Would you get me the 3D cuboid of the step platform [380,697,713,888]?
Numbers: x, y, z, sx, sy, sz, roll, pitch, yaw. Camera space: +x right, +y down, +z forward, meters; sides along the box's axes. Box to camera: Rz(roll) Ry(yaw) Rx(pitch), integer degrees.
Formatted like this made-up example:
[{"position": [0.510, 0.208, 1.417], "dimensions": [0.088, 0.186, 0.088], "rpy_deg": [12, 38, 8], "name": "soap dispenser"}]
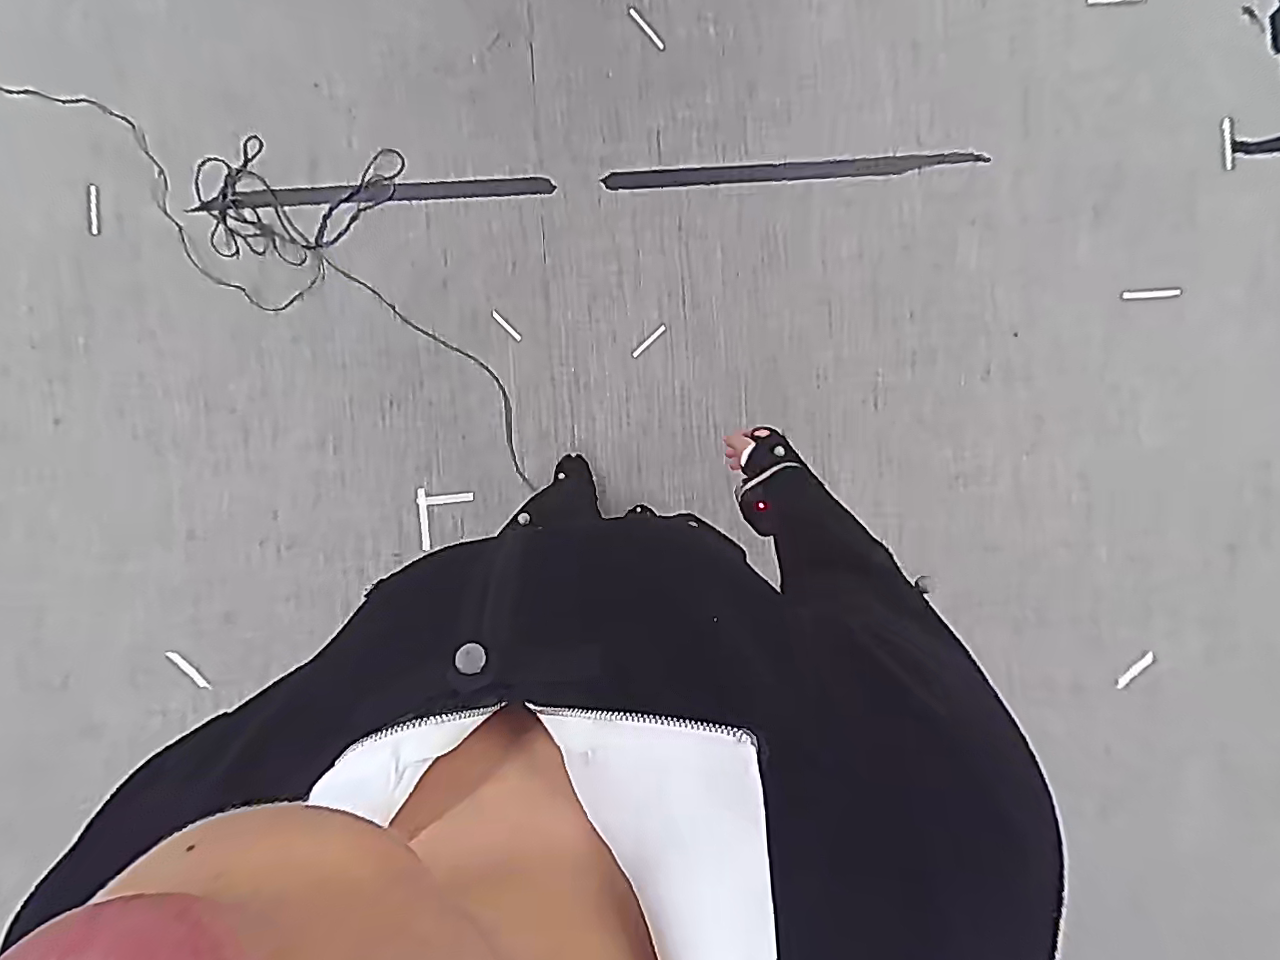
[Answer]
[{"position": [-0.190, 0.671, 1.195], "dimensions": [0.684, 0.204, 0.286], "rpy_deg": [-5, 91, 2], "name": "step platform"}]
